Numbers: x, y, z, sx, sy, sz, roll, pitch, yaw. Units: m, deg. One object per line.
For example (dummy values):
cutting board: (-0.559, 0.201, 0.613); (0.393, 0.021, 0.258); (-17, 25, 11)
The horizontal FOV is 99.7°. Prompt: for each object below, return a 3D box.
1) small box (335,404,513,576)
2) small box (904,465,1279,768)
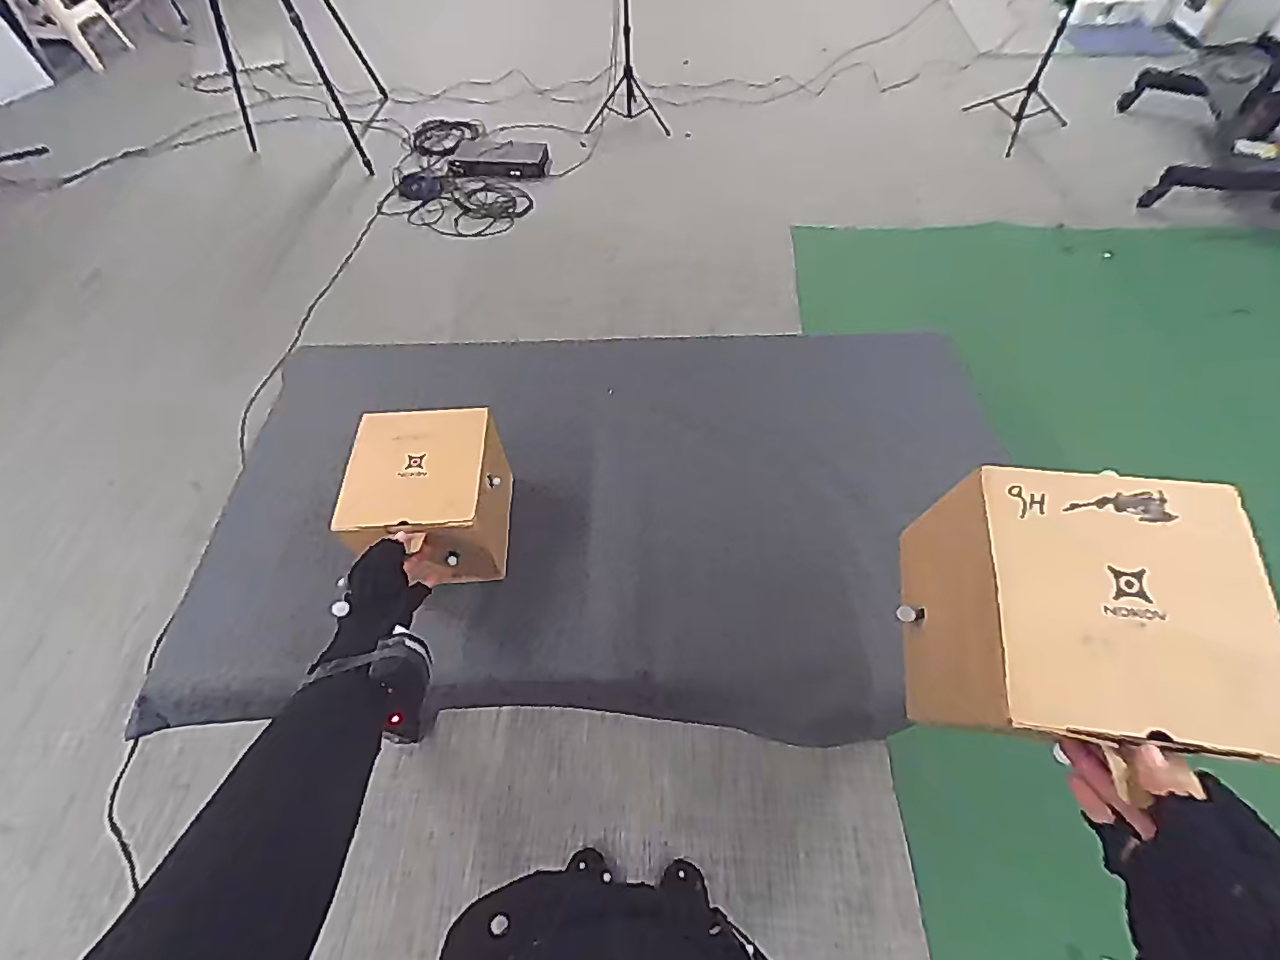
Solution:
small box: (-0.272, 0.021, 0.728); (0.168, 0.176, 0.179); (-3, 56, -2)
small box: (0.321, 0.106, 0.421); (0.168, 0.176, 0.179); (5, 69, 7)
